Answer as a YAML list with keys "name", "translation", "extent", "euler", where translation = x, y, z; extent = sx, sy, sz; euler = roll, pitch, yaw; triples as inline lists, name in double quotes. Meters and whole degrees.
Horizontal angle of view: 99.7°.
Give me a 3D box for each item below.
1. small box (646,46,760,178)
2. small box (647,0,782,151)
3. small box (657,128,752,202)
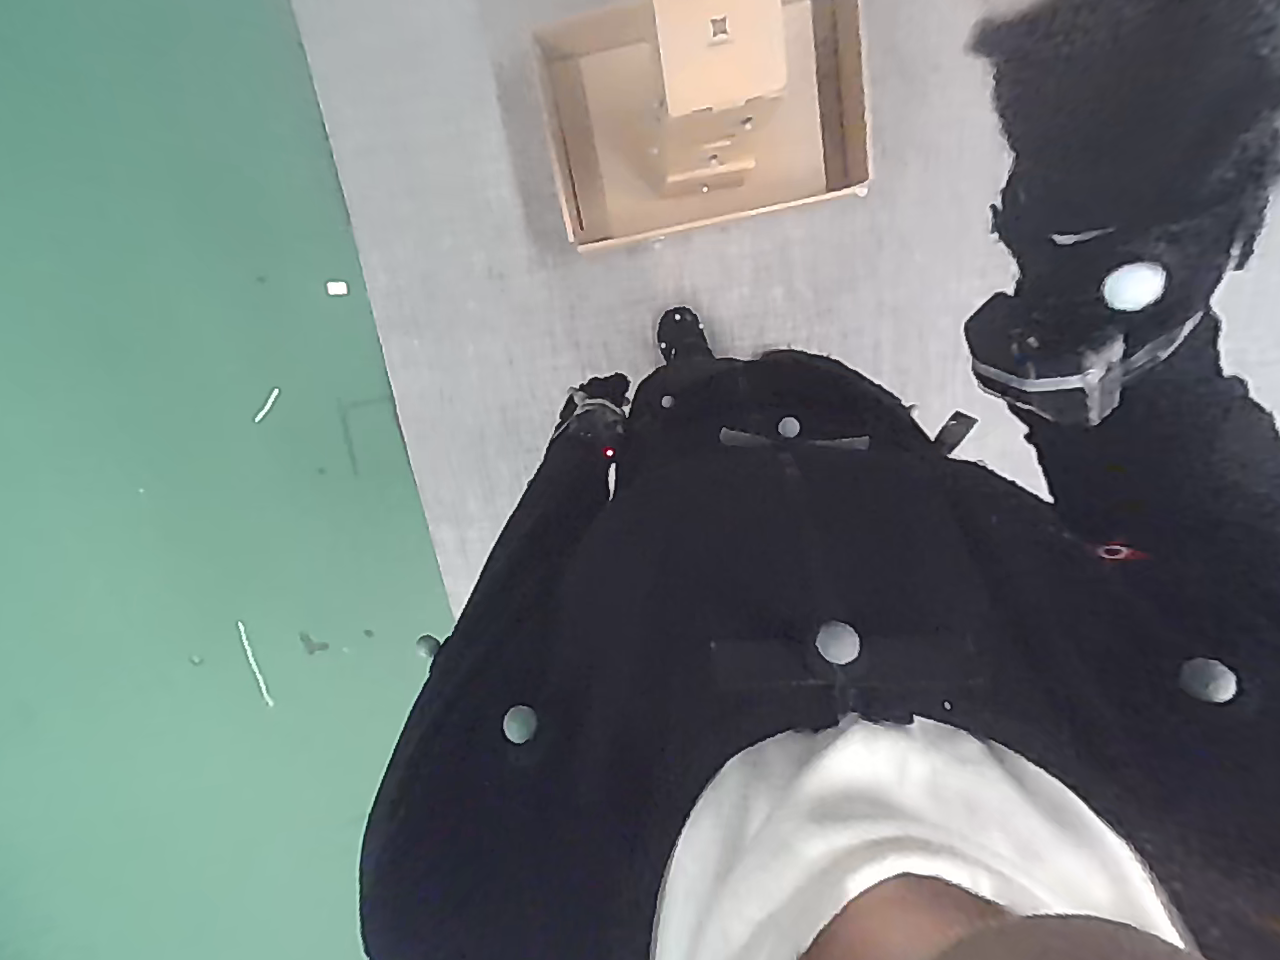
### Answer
- name: "small box"
  translation: [0.112, -0.665, 0.971]
  extent: [0.168, 0.176, 0.179]
  euler: [-11, 105, 7]
- name: "small box"
  translation: [0.105, -0.611, 0.797]
  extent: [0.168, 0.176, 0.179]
  euler: [-9, 105, 4]
- name: "small box"
  translation: [0.129, -0.695, 1.128]
  extent: [0.179, 0.176, 0.168]
  euler: [-6, 105, 5]
